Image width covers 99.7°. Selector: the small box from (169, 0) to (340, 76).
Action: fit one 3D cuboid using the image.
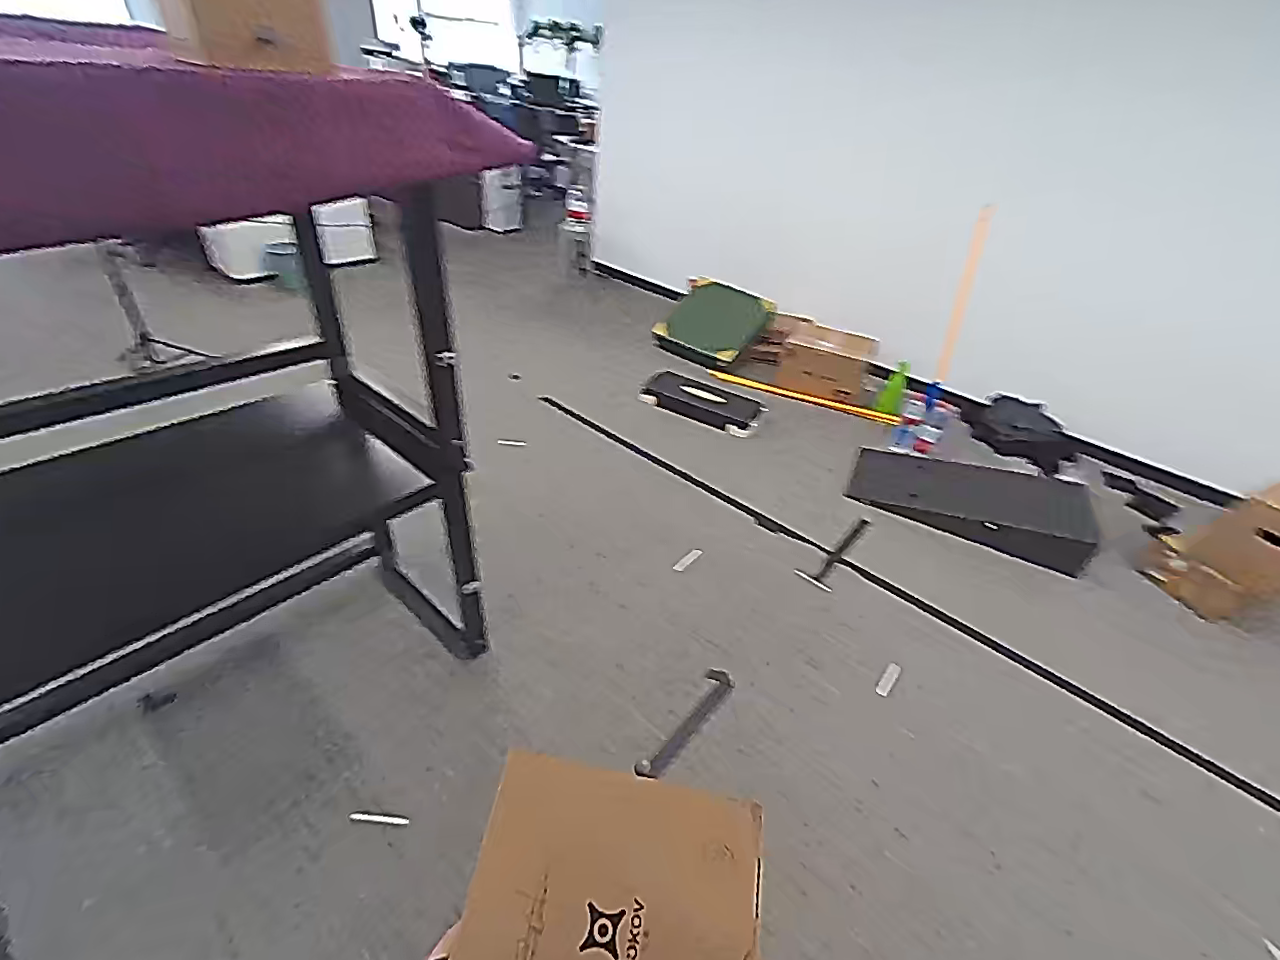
[{"bbox_3d":[-0.555,-0.686,0.771,0.168,0.176,0.179,32,44,31],"label":"small box"}]
